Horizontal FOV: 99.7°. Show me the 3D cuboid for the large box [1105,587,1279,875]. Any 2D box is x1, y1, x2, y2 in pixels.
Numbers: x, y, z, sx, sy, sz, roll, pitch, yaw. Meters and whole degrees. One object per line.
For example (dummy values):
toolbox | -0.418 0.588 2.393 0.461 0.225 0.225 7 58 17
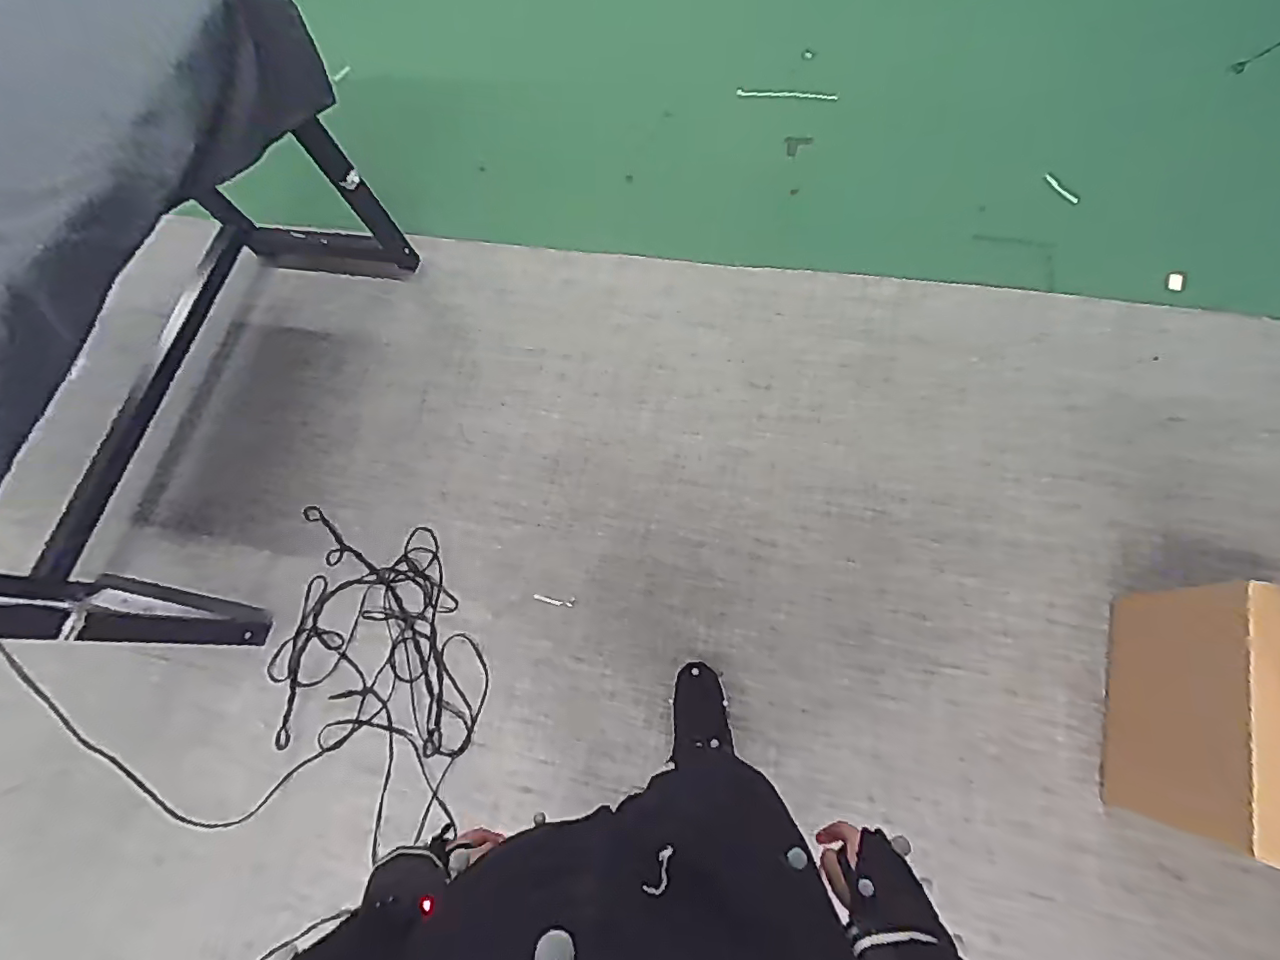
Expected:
large box | 1.056 0.424 0.909 0.320 0.320 0.408 13 75 12
